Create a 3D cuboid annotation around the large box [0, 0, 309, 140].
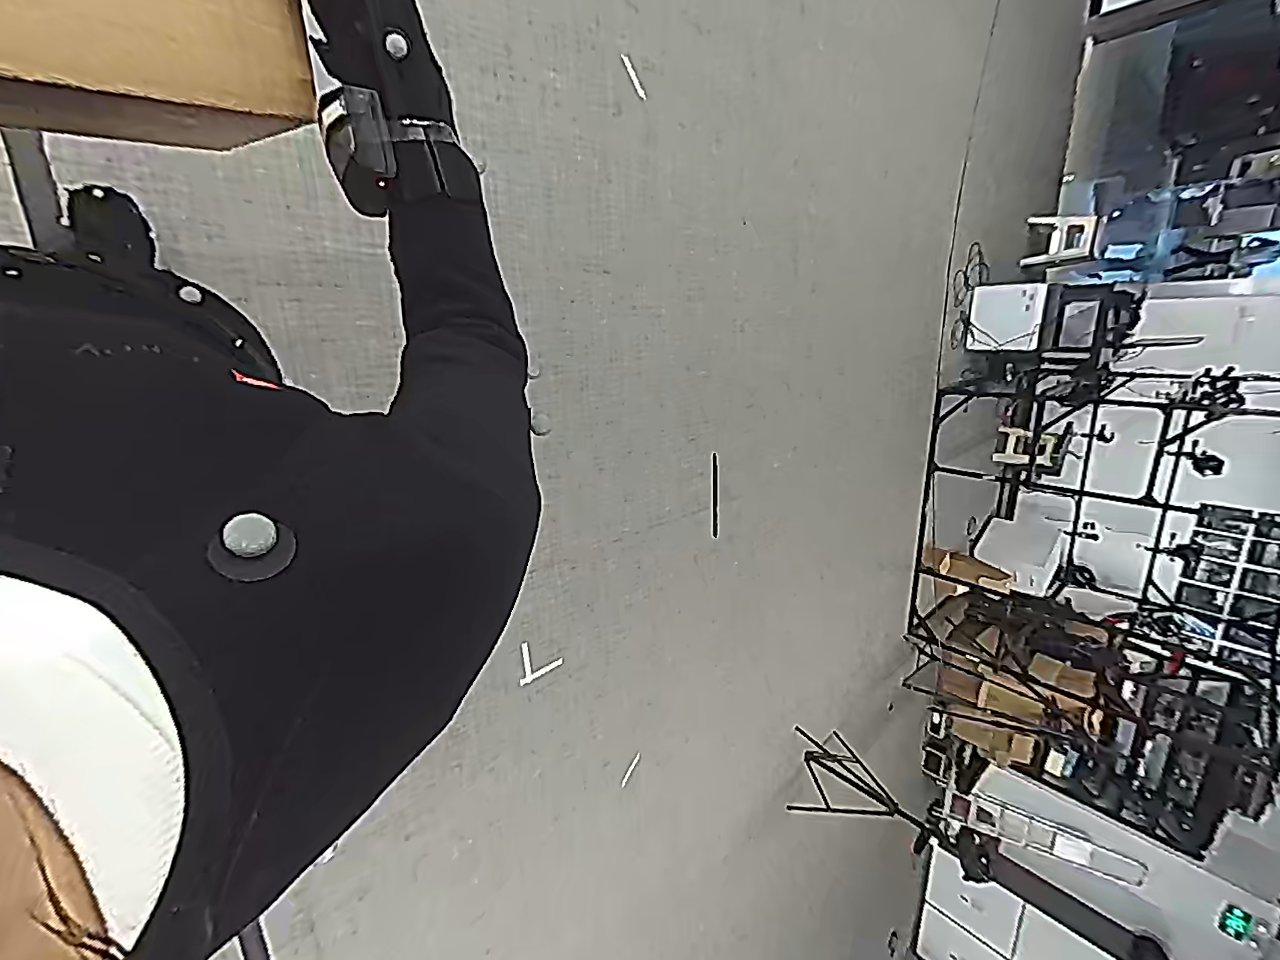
[{"bbox_3d":[-0.479,-0.397,0.295,0.408,0.320,0.320,-21,125,-41],"label":"large box"}]
